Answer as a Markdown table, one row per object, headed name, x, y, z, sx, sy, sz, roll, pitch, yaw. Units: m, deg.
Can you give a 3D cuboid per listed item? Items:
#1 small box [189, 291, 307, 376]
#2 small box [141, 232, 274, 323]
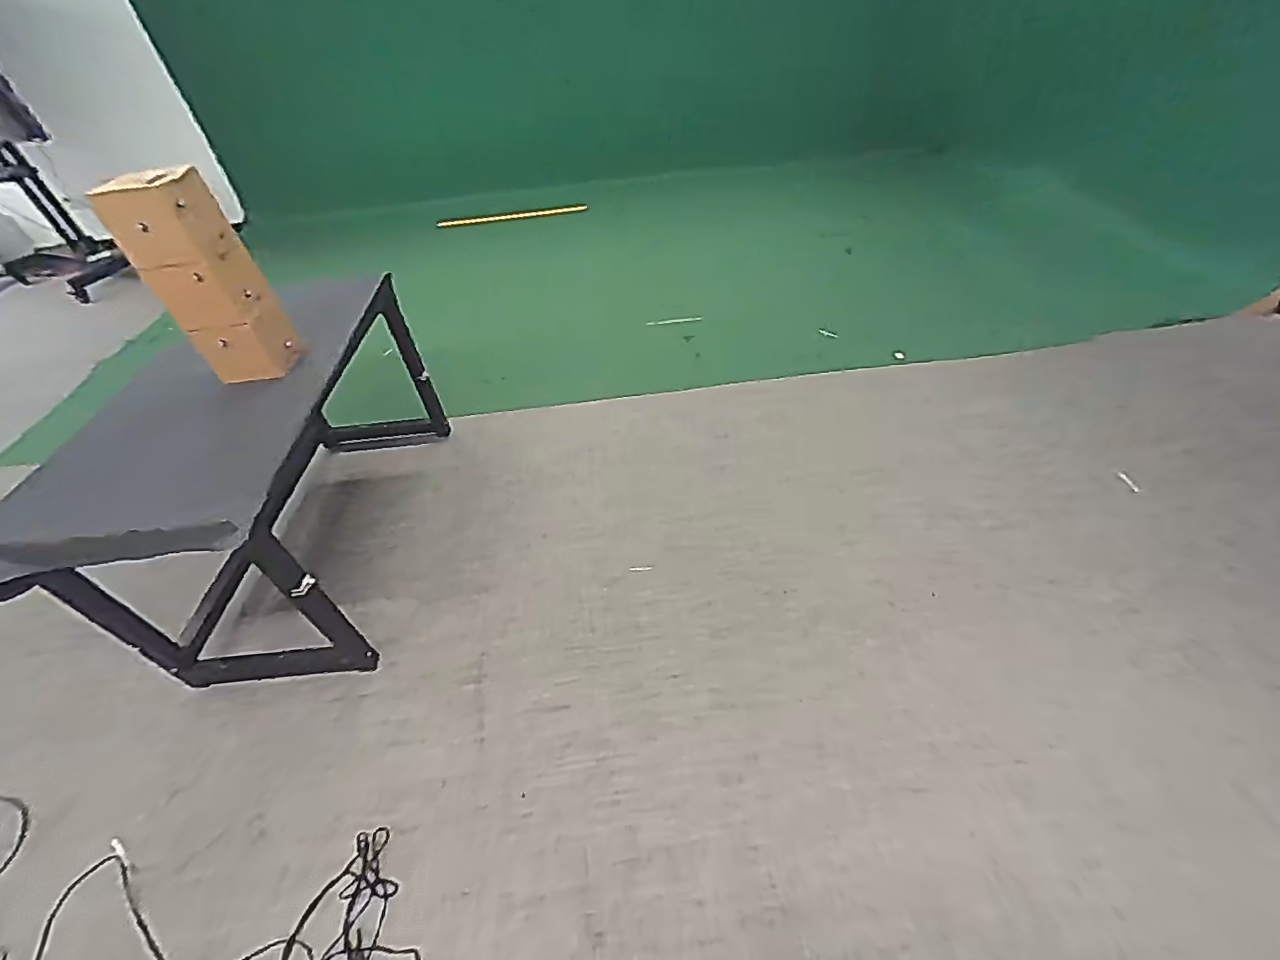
| name | x | y | z | sx | sy | sz | roll | pitch | yaw |
| --- | --- | --- | --- | --- | --- | --- | --- | --- | --- |
| small box | -1.088 | -0.407 | 1.517 | 0.179 | 0.176 | 0.168 | -6 | 45 | 1 |
| small box | -1.108 | -0.521 | 1.404 | 0.179 | 0.176 | 0.168 | -6 | 44 | 1 |
